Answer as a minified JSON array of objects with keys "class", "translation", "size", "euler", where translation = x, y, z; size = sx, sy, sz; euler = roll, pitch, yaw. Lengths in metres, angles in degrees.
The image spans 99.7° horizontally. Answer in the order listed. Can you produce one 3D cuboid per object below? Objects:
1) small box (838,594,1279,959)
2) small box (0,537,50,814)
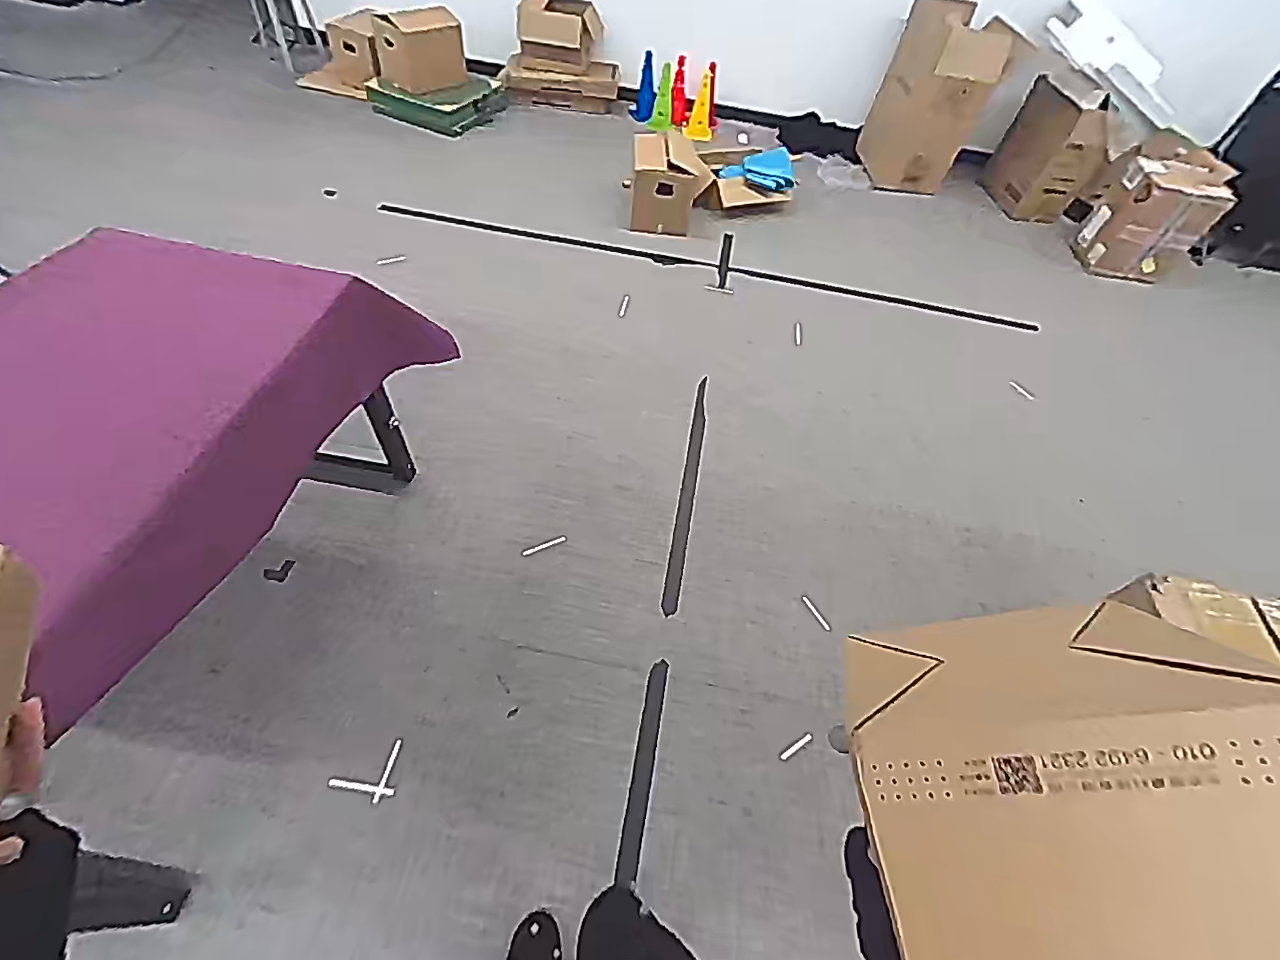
[{"class":"small box","translation":[0.209,0.165,0.279],"size":[0.168,0.179,0.176],"euler":[-16,84,20]},{"class":"small box","translation":[-0.388,0.111,0.227],"size":[0.168,0.179,0.176],"euler":[8,70,-42]}]
